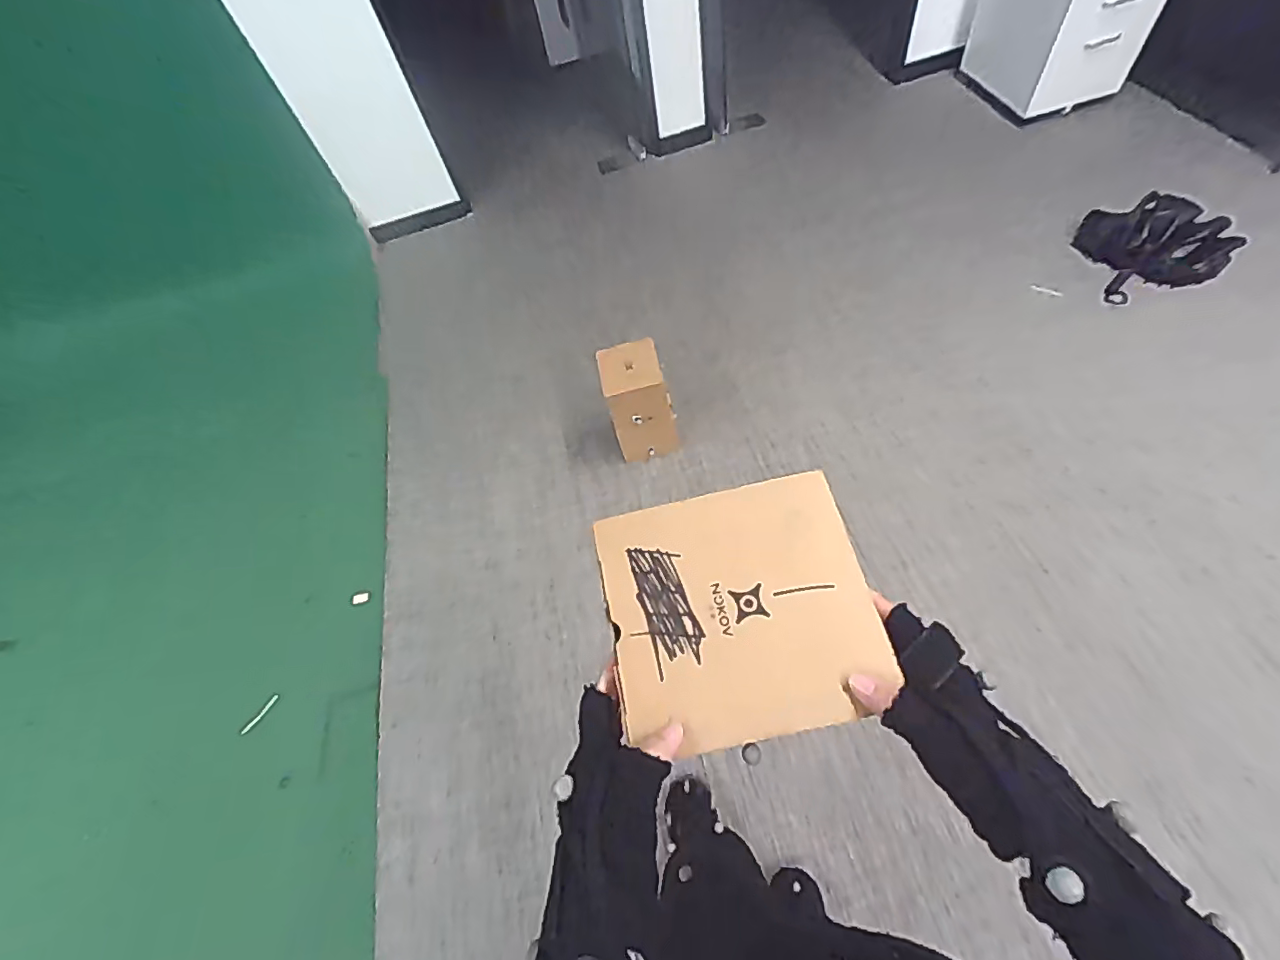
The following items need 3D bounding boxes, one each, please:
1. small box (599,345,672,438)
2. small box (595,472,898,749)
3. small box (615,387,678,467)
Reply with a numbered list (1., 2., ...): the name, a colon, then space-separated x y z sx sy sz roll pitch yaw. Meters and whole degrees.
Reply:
1. small box: -0.011 -0.251 1.554 0.168 0.176 0.179 -15 58 4
2. small box: 0.074 0.117 0.443 0.179 0.176 0.168 -12 63 1
3. small box: 0.018 -0.162 1.686 0.179 0.176 0.168 -13 57 3
